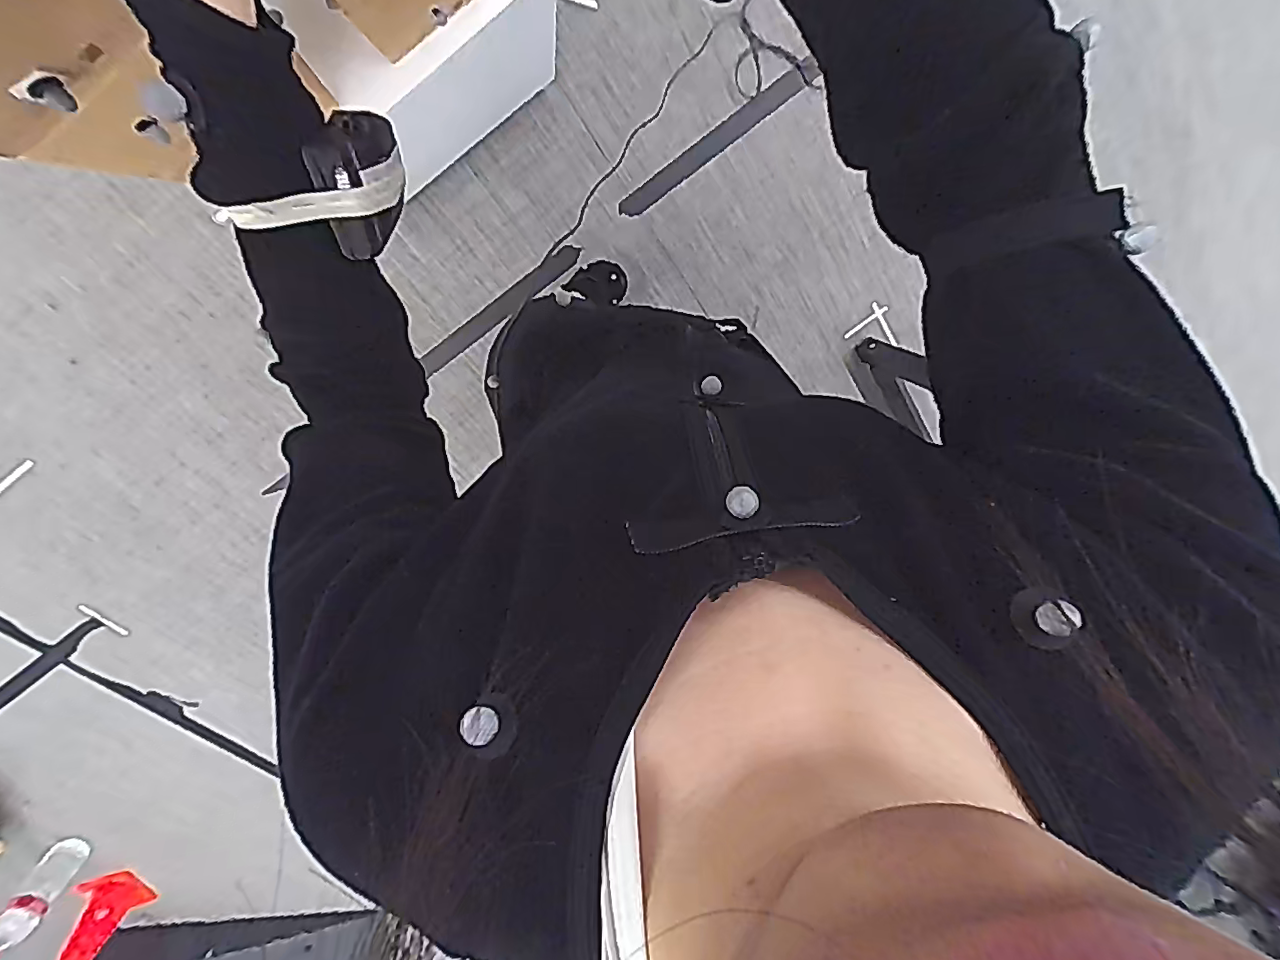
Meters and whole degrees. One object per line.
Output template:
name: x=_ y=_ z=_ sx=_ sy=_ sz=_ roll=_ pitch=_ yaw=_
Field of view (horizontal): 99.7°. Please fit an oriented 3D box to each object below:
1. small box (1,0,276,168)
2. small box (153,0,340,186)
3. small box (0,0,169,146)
small box: x=-0.437 y=-0.370 z=0.417 sx=0.168 sy=0.176 sz=0.179 roll=-36 pitch=114 yaw=8
small box: x=-0.462 y=-0.437 z=0.562 sx=0.168 sy=0.176 sz=0.179 roll=-34 pitch=114 yaw=8
small box: x=-0.414 y=-0.305 z=0.270 sx=0.168 sy=0.176 sz=0.179 roll=-36 pitch=115 yaw=9
